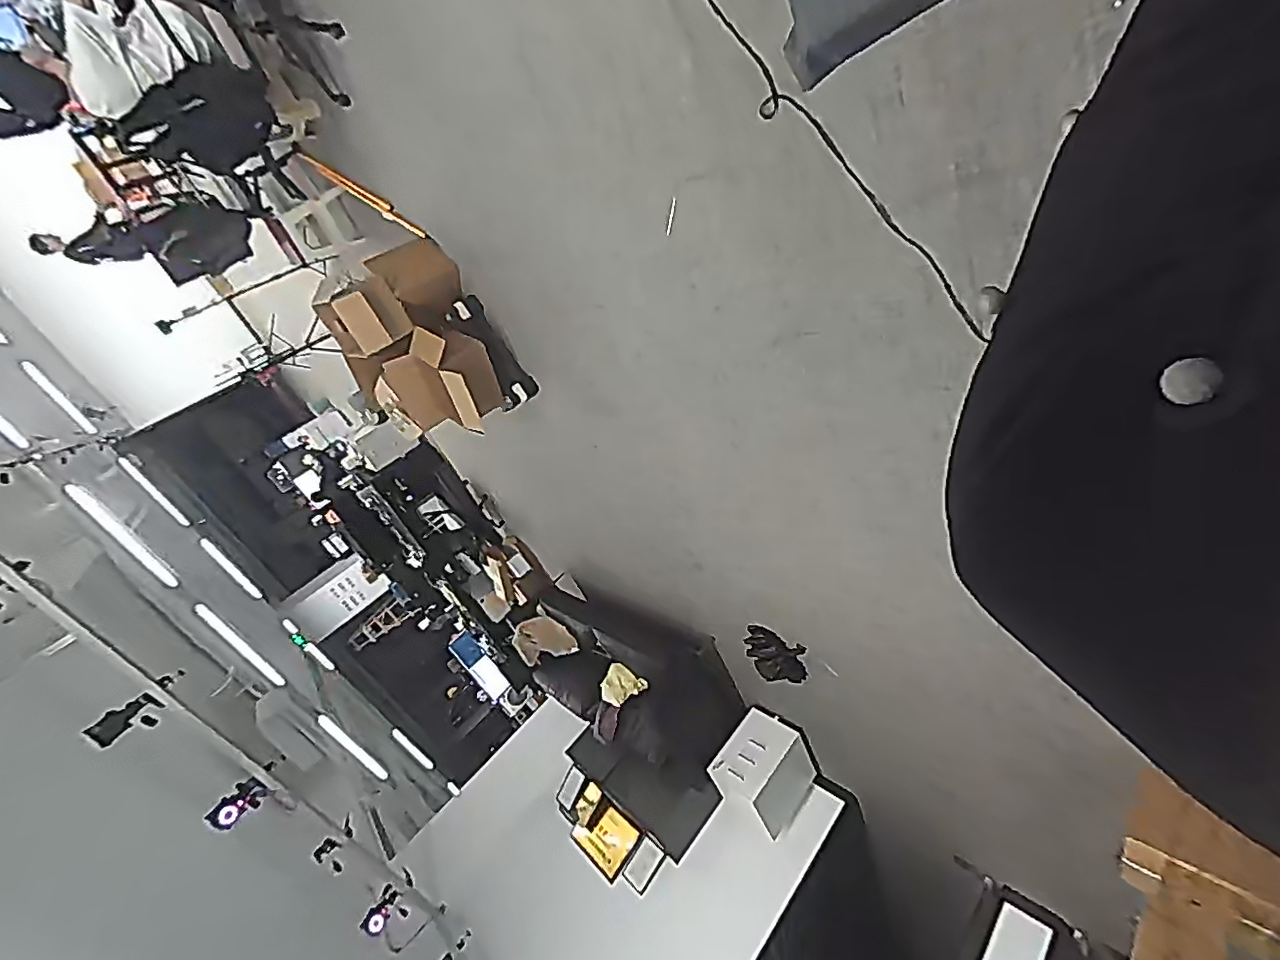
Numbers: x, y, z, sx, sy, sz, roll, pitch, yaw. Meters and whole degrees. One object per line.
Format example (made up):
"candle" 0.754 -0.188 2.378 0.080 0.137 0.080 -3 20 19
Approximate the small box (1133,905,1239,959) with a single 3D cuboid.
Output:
"small box" 1.500 1.324 1.492 0.179 0.176 0.168 14 137 46

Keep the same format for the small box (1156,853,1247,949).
"small box" 1.619 1.235 1.565 0.168 0.176 0.179 12 135 49
